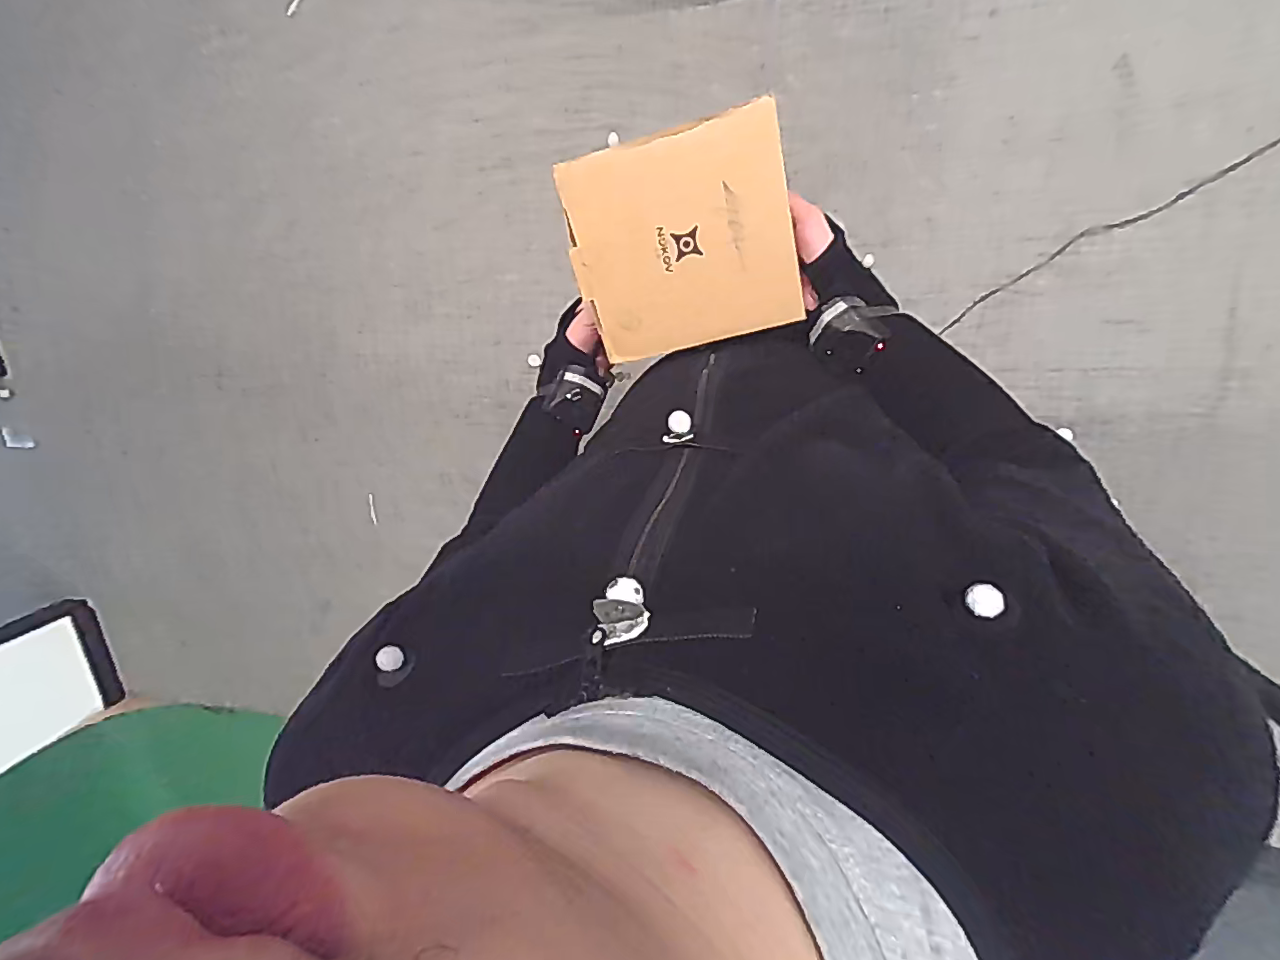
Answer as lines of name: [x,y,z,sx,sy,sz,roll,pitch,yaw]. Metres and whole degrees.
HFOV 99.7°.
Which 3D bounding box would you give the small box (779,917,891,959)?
small box: [0.348,0.920,0.950,0.179,0.176,0.168,7,108,10]
